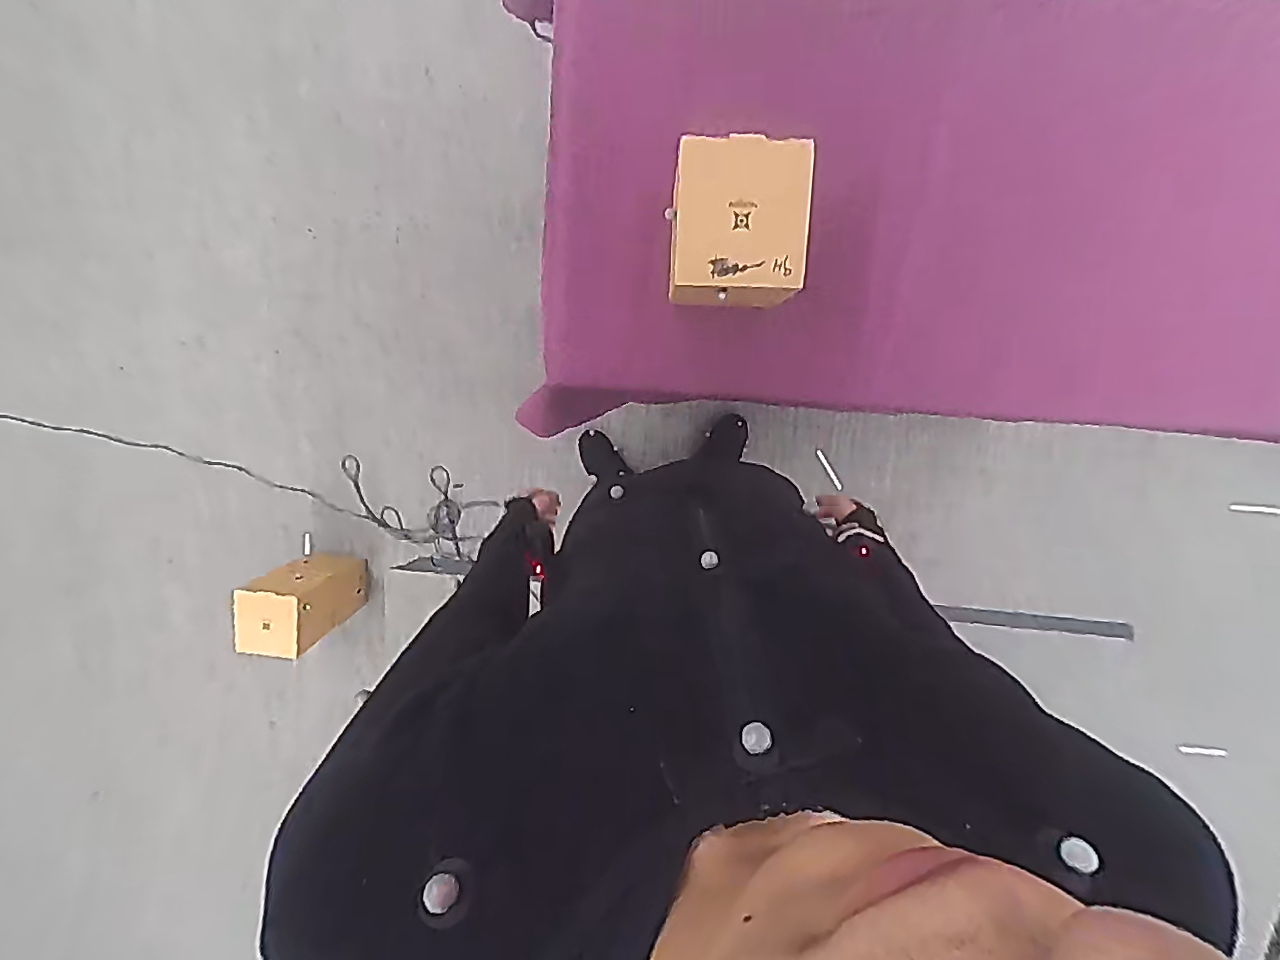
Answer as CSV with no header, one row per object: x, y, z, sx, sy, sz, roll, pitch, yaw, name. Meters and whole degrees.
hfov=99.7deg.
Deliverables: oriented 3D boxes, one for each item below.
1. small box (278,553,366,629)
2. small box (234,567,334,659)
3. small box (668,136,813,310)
-0.954,0.327,1.625,0.179,0.176,0.168,5,101,0,small box
-0.956,0.355,1.465,0.168,0.176,0.179,7,100,0,small box
0.127,-0.342,0.750,0.168,0.176,0.179,2,99,1,small box
